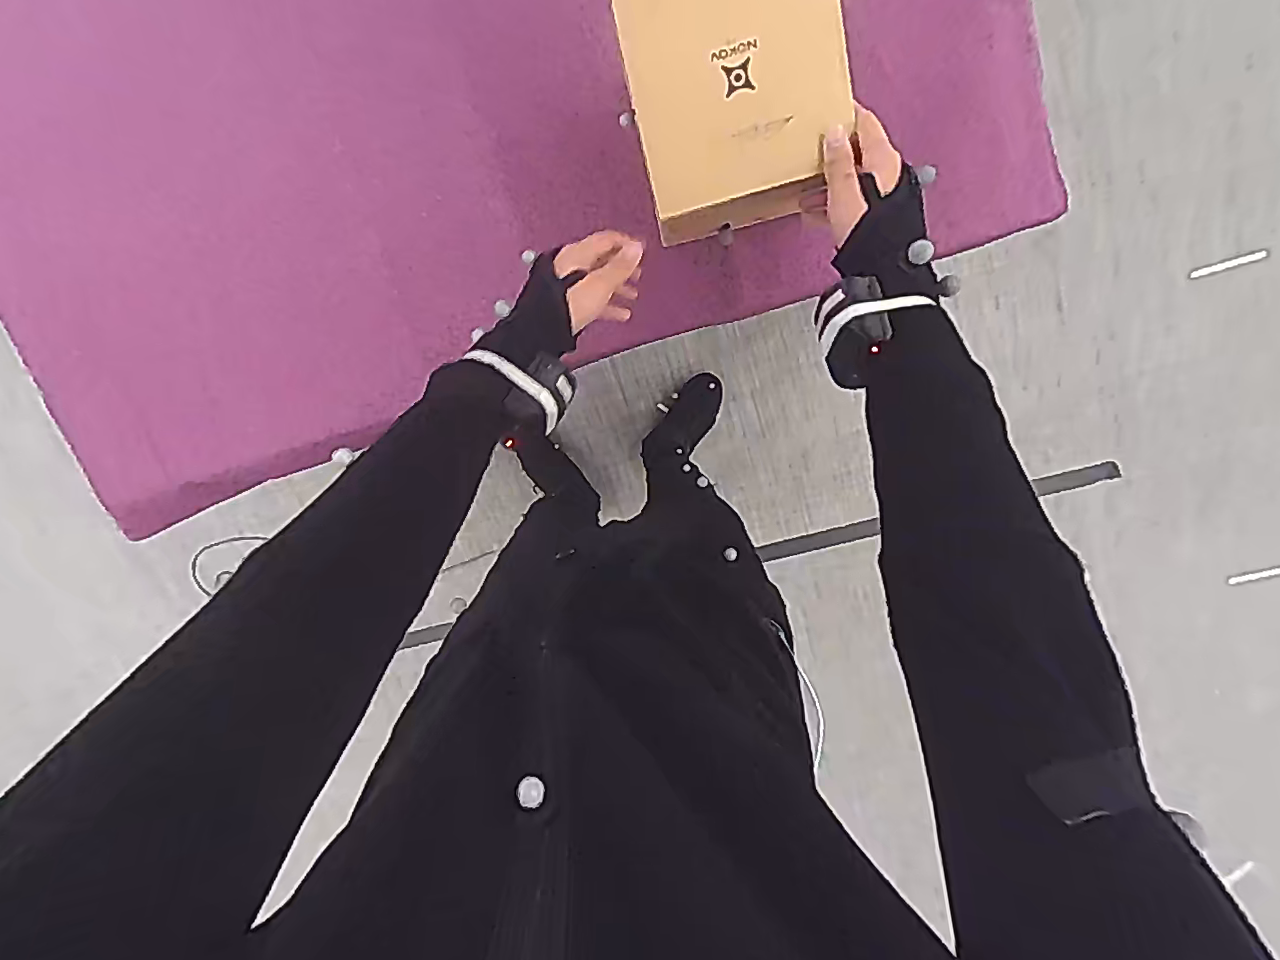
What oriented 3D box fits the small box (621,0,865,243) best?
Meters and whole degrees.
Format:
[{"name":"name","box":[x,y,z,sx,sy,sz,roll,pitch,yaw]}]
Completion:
[{"name":"small box","box":[0.083,-0.333,0.485,0.168,0.176,0.179,-12,104,7]}]
